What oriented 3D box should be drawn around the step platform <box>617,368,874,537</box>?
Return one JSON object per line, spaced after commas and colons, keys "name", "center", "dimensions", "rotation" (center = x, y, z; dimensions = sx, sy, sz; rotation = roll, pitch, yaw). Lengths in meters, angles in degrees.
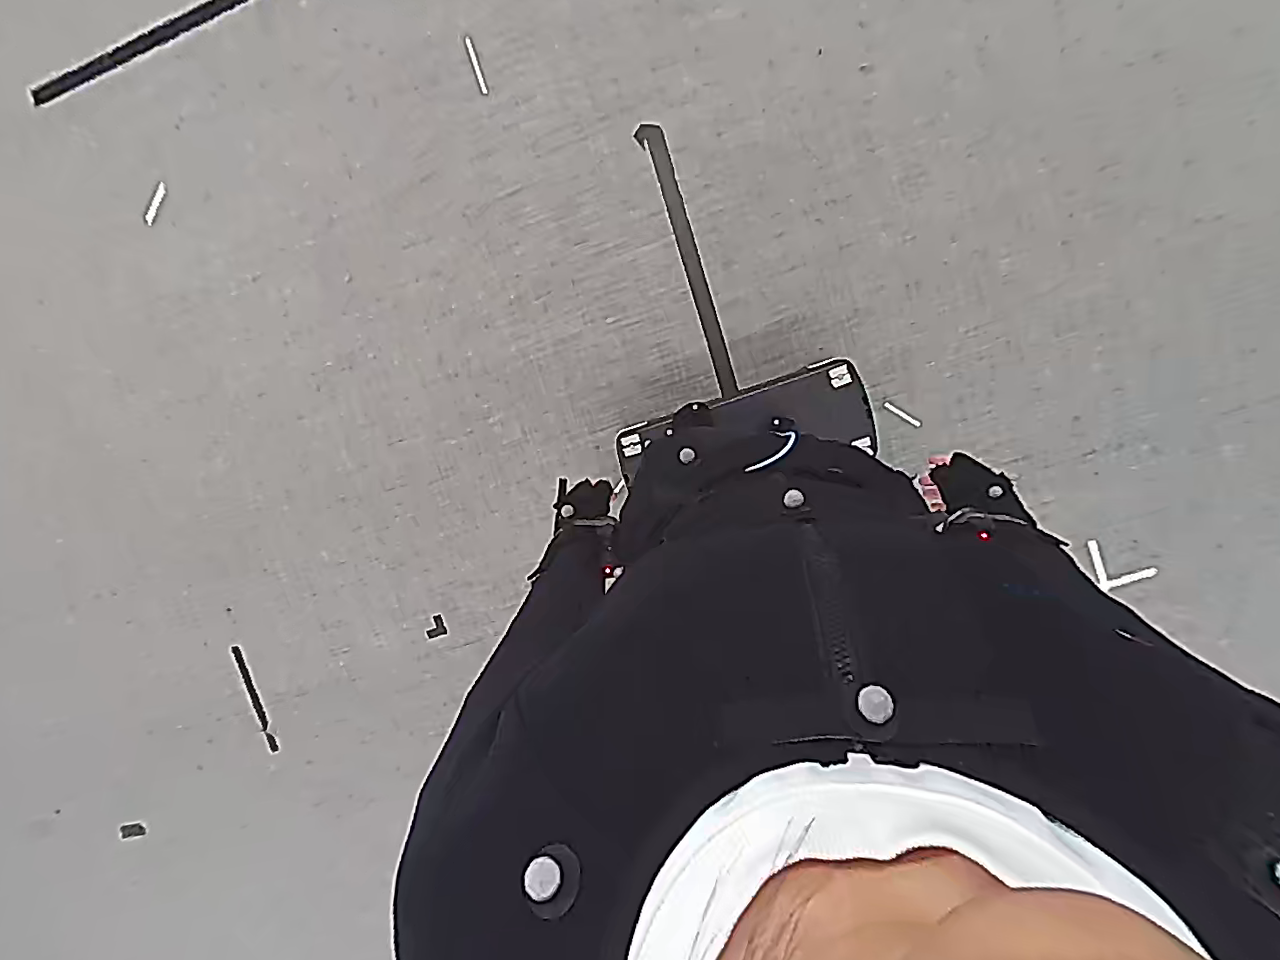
{"name": "step platform", "center": [0.282, -0.073, 1.513], "dimensions": [0.684, 0.204, 0.286], "rotation": [-19, 97, 7]}
